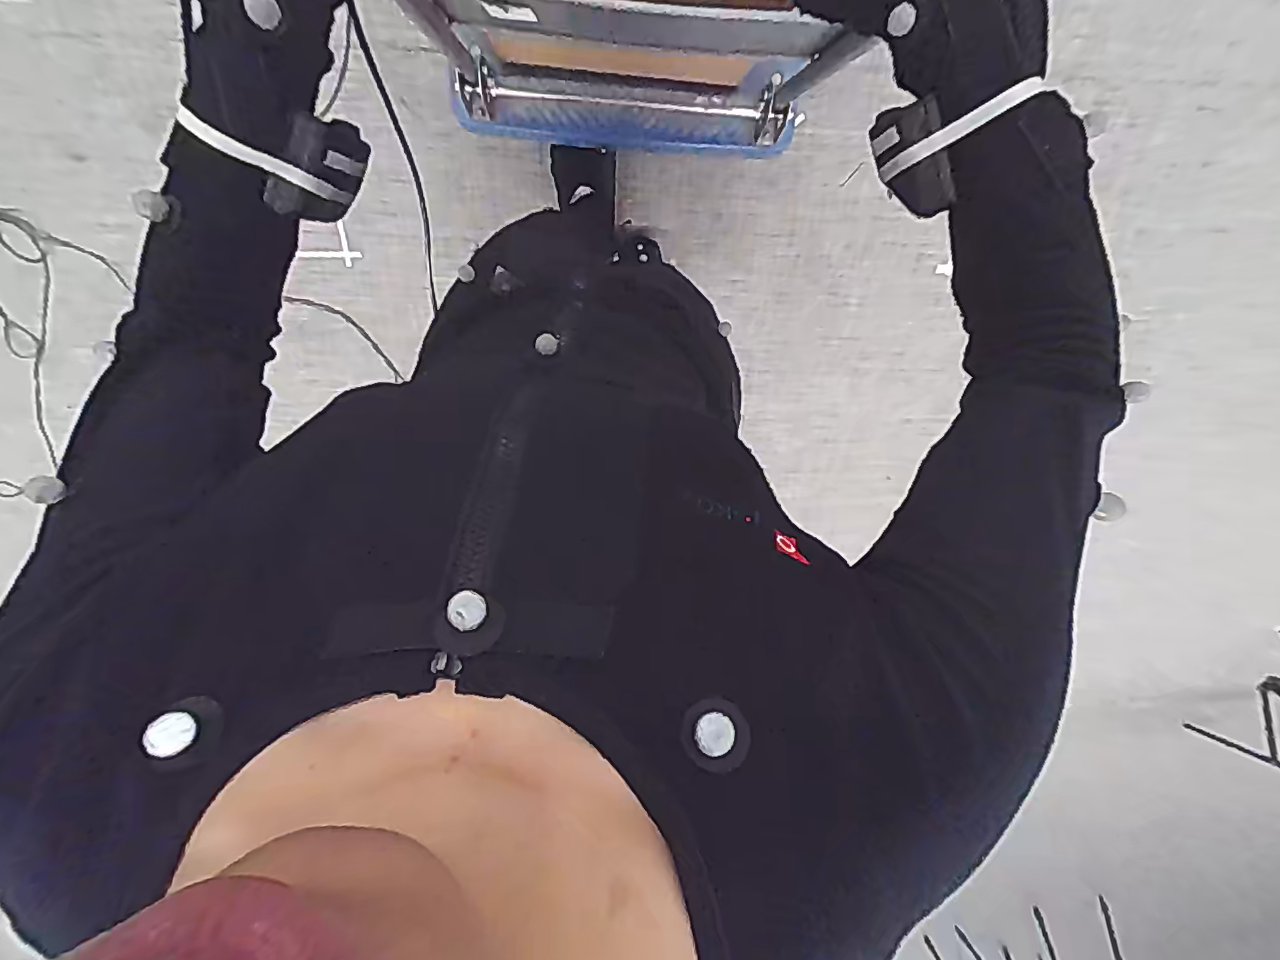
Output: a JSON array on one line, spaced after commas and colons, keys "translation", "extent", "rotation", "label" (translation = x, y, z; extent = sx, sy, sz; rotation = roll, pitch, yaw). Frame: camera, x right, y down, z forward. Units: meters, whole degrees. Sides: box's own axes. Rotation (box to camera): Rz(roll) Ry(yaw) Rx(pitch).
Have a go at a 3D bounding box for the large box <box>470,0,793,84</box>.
[{"translation": [-0.018, -0.759, 0.704], "extent": [0.408, 0.320, 0.320], "rotation": [2, 111, -5], "label": "large box"}]
